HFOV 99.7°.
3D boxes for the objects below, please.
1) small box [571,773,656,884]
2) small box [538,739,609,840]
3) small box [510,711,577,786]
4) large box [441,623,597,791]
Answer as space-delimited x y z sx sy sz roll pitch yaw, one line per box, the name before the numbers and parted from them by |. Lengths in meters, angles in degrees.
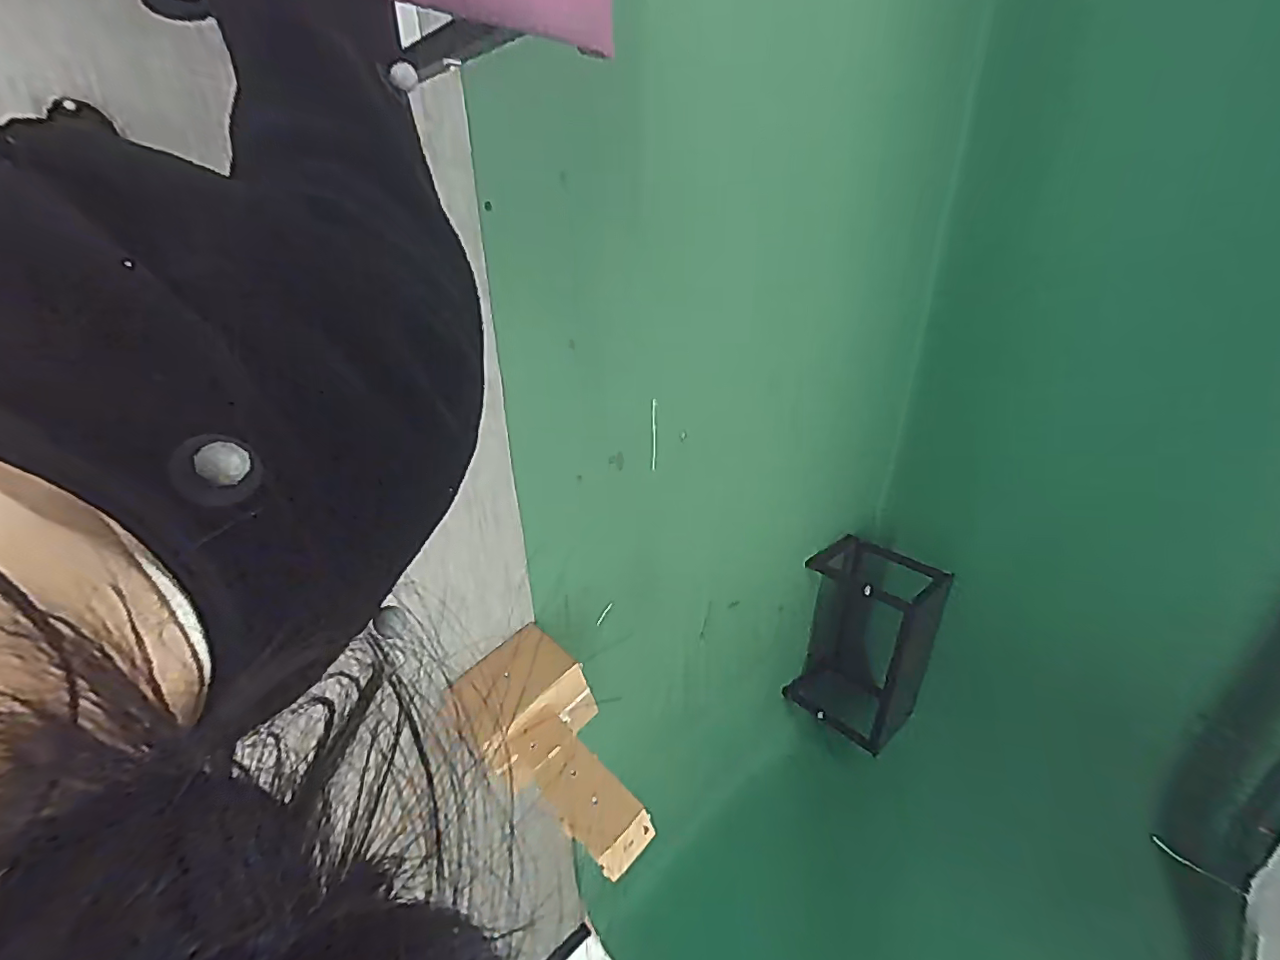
small box | -0.083 1.006 1.571 0.179 0.176 0.168 -35 129 -28
small box | -0.195 0.955 1.679 0.179 0.176 0.168 -36 130 -28
small box | -0.304 0.901 1.790 0.168 0.176 0.179 -35 130 -29
large box | -0.435 0.815 1.981 0.408 0.320 0.320 -37 132 -30
